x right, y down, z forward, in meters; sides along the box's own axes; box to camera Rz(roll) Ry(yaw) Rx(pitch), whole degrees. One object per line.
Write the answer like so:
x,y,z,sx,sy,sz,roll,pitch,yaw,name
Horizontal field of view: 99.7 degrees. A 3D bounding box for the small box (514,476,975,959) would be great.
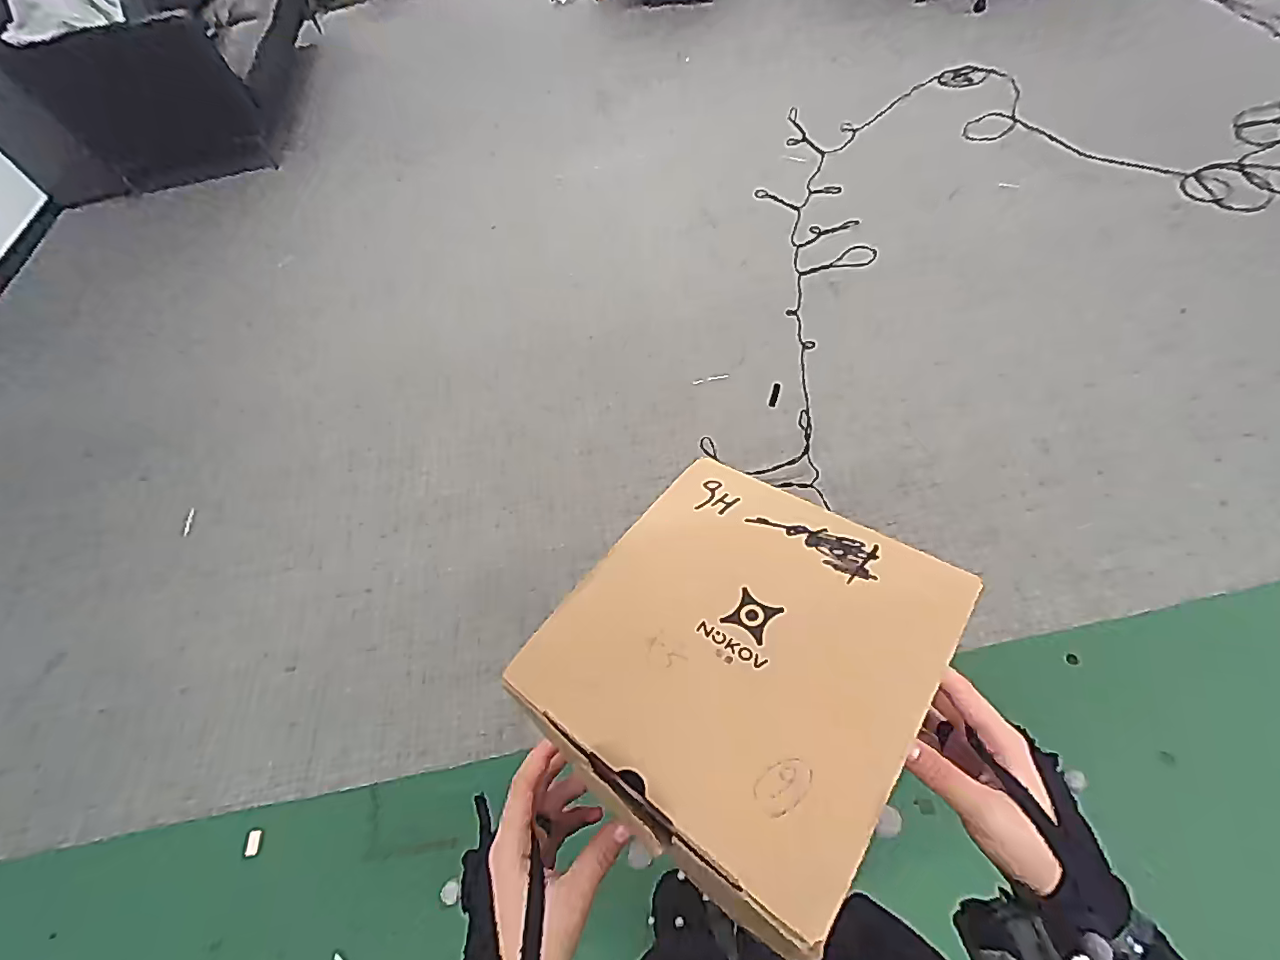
0.062,0.136,0.325,0.168,0.176,0.179,27,58,30,small box
